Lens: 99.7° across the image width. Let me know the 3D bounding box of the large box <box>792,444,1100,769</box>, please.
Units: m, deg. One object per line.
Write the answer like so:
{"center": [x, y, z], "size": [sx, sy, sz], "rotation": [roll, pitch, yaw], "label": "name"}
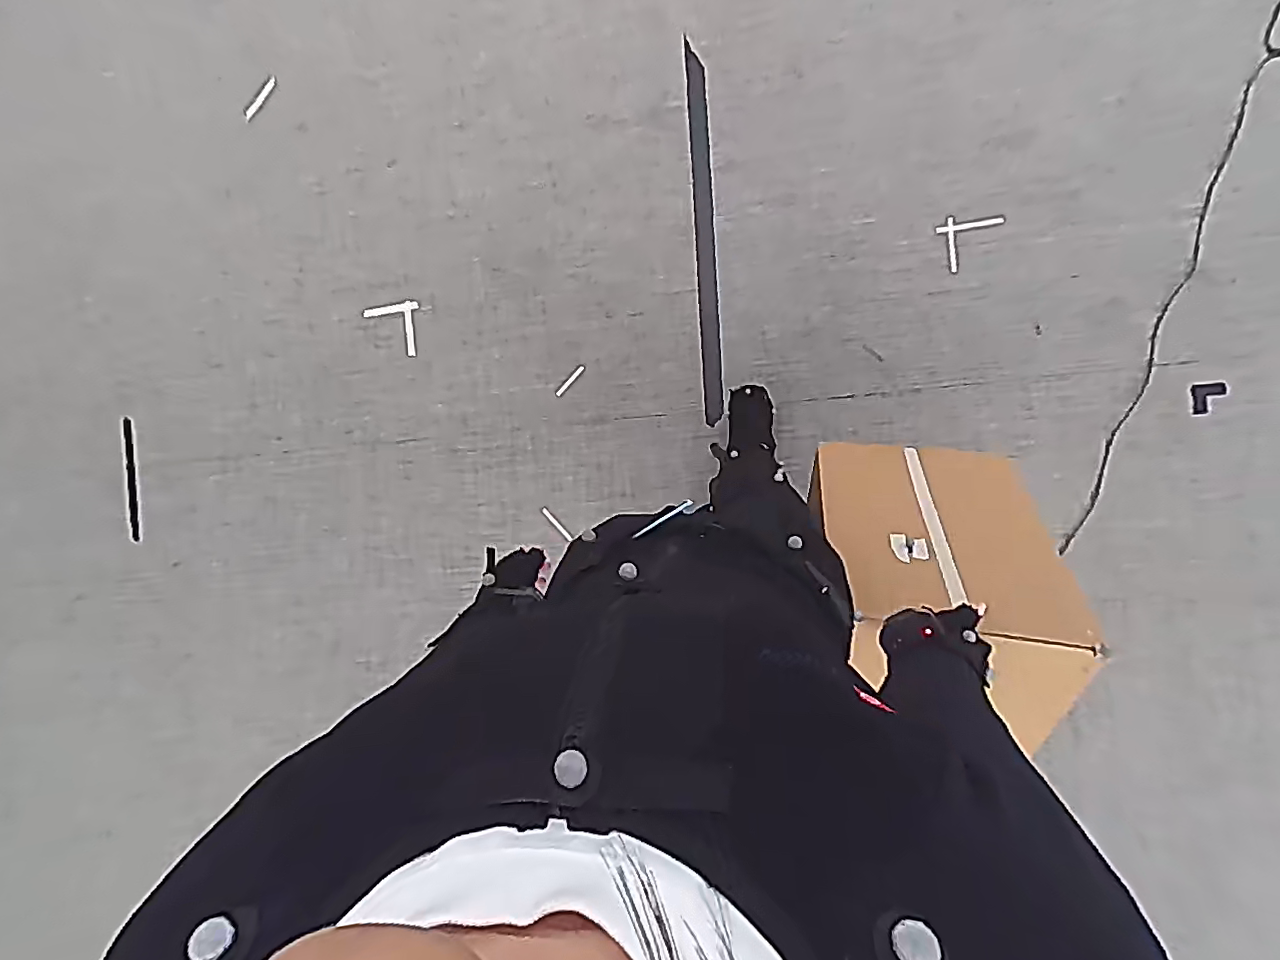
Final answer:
{"center": [0.433, 0.186, 0.898], "size": [0.320, 0.408, 0.320], "rotation": [5, 128, 12], "label": "large box"}
